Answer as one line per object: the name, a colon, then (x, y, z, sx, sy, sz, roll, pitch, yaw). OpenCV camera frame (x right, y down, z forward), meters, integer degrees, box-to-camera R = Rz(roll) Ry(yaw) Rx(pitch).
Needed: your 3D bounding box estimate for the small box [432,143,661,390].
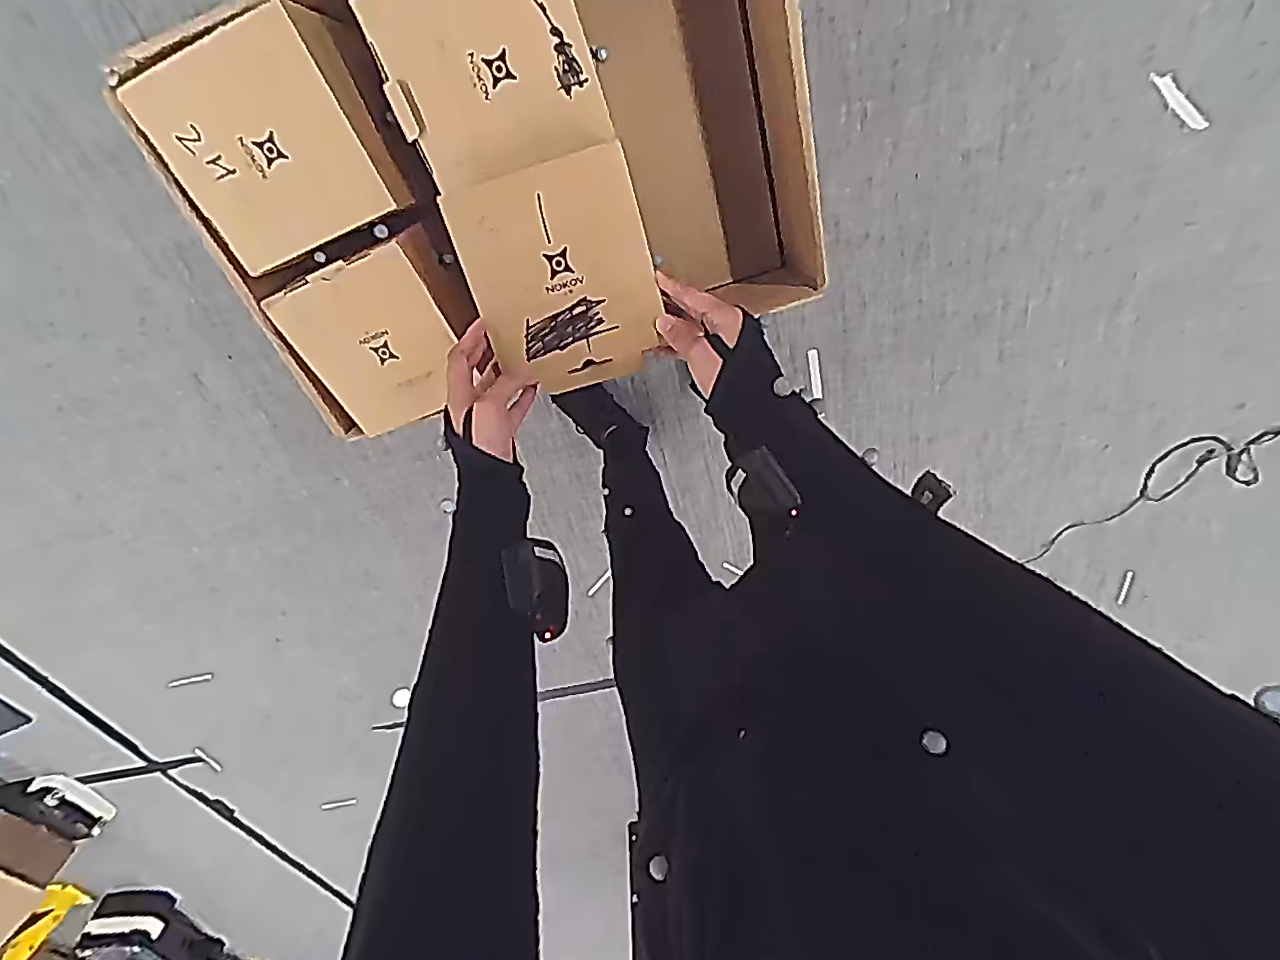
small box: (-0.079, -0.209, 0.557, 0.168, 0.176, 0.179, -15, 108, 4)
